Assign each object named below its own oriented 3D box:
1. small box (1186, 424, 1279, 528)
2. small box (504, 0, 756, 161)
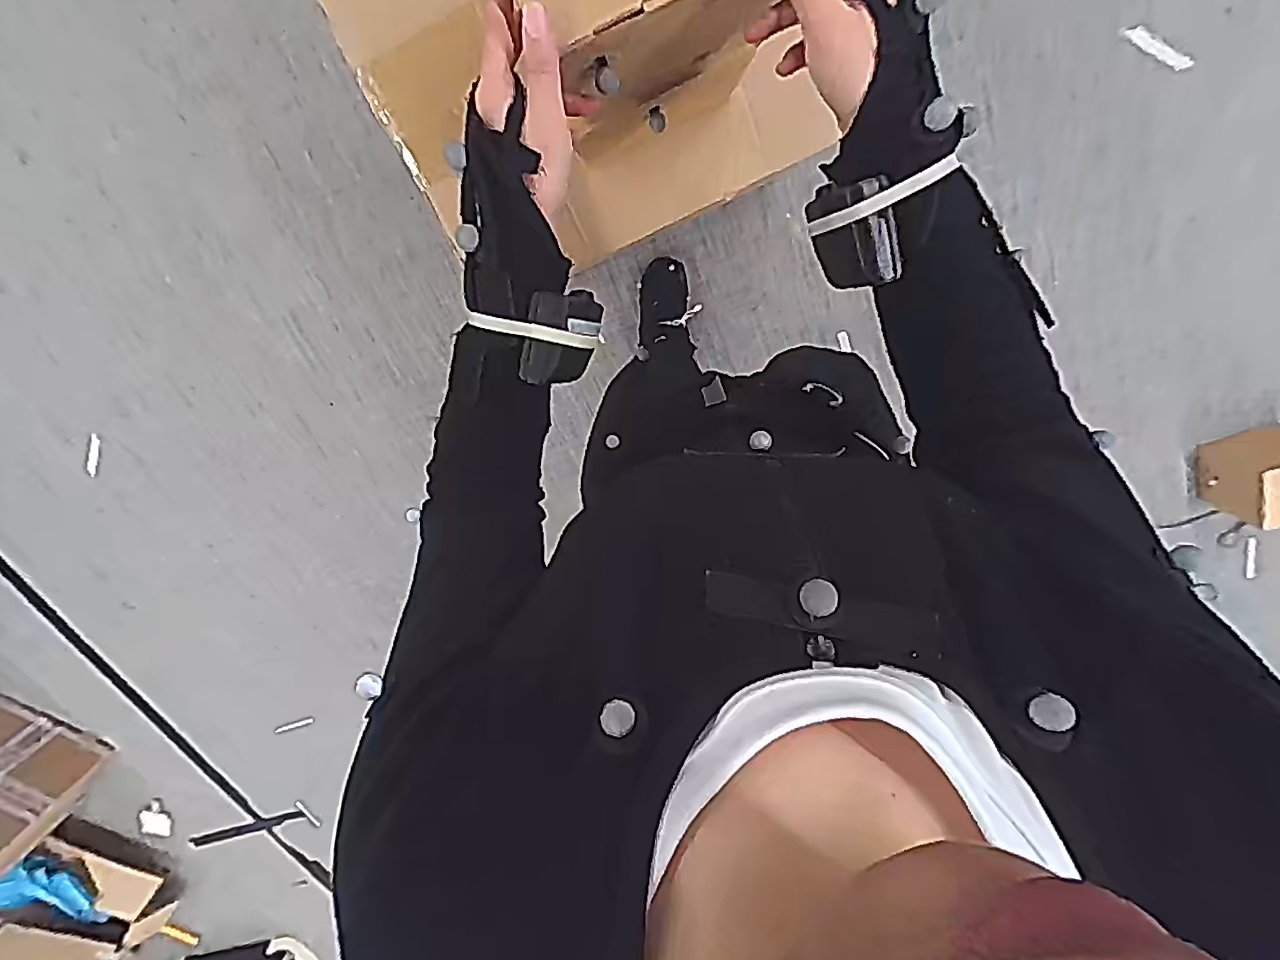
[{"bbox_3d":[1.499,-0.016,1.316,0.179,0.176,0.168,-21,111,11],"label":"small box"},{"bbox_3d":[-0.017,-0.416,0.485,0.179,0.176,0.168,-21,112,10],"label":"small box"}]
